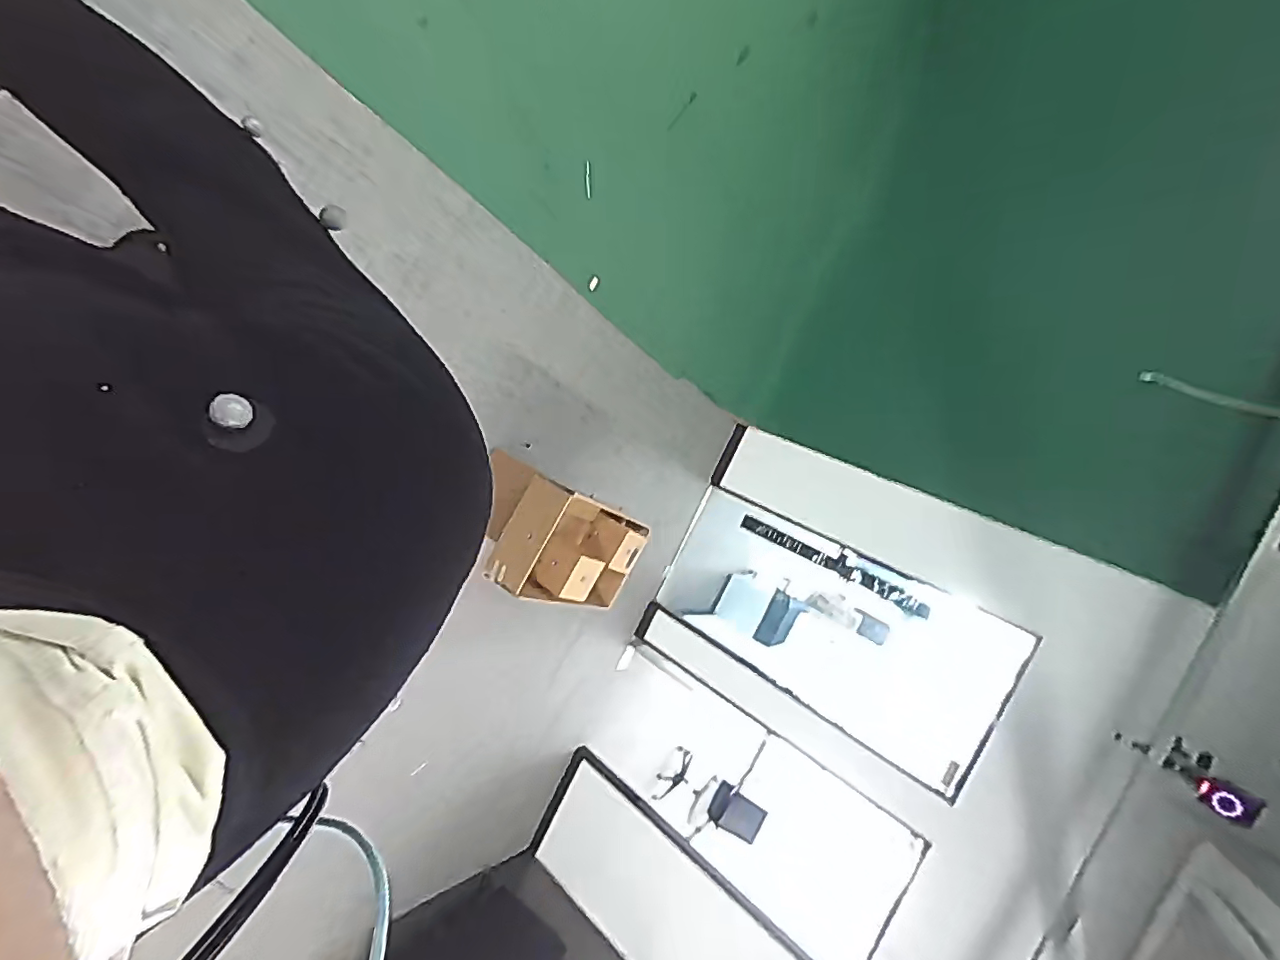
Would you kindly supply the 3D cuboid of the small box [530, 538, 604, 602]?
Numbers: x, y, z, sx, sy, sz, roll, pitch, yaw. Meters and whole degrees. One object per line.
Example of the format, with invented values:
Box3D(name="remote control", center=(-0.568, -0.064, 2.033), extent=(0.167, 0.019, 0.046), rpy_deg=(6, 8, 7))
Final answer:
Box3D(name="small box", center=(-0.274, 0.330, 1.996), extent=(0.168, 0.176, 0.179), rpy_deg=(-60, 148, -2))
